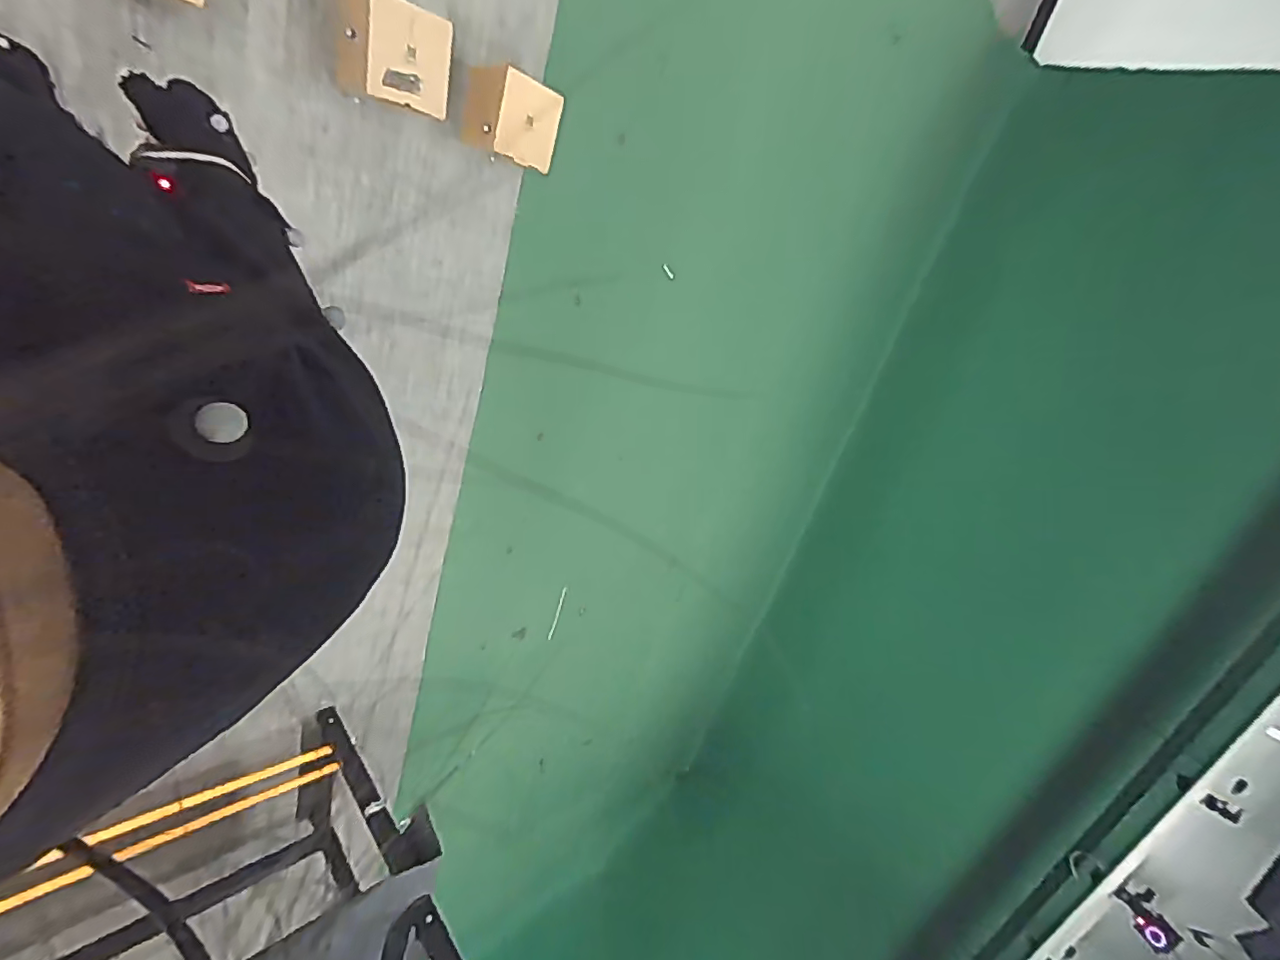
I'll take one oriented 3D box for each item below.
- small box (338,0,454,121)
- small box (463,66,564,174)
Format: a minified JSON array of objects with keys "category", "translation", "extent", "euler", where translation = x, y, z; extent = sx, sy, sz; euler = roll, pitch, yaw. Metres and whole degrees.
[{"category":"small box","translation":[-0.513,-0.879,1.128],"extent":[0.168,0.176,0.179],"euler":[-11,124,-46]},{"category":"small box","translation":[-0.320,-0.895,1.348],"extent":[0.168,0.176,0.179],"euler":[-6,121,-47]}]
